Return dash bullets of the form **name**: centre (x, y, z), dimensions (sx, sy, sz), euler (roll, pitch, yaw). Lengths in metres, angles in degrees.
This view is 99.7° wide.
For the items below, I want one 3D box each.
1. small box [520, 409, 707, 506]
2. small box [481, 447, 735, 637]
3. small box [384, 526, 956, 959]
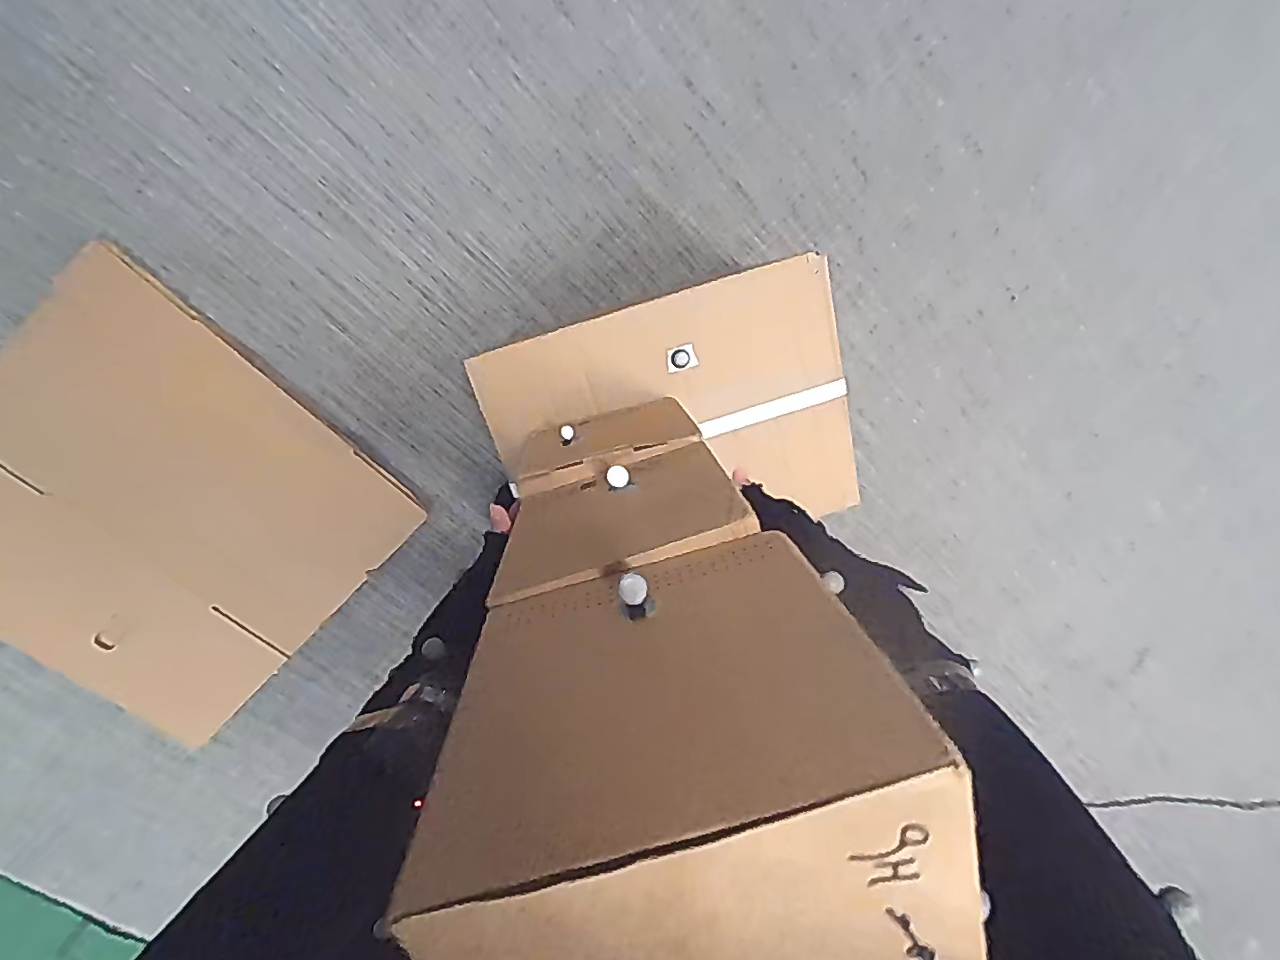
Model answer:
- **small box**: centre (-0.017, 0.032, 0.571), dimensions (0.168, 0.176, 0.179), euler (-14, 111, 0)
- **small box**: centre (0.004, 0.098, 0.421), dimensions (0.168, 0.176, 0.179), euler (-21, 110, 3)
- **small box**: centre (0.019, 0.145, 0.269), dimensions (0.179, 0.176, 0.168), euler (-19, 107, 2)
